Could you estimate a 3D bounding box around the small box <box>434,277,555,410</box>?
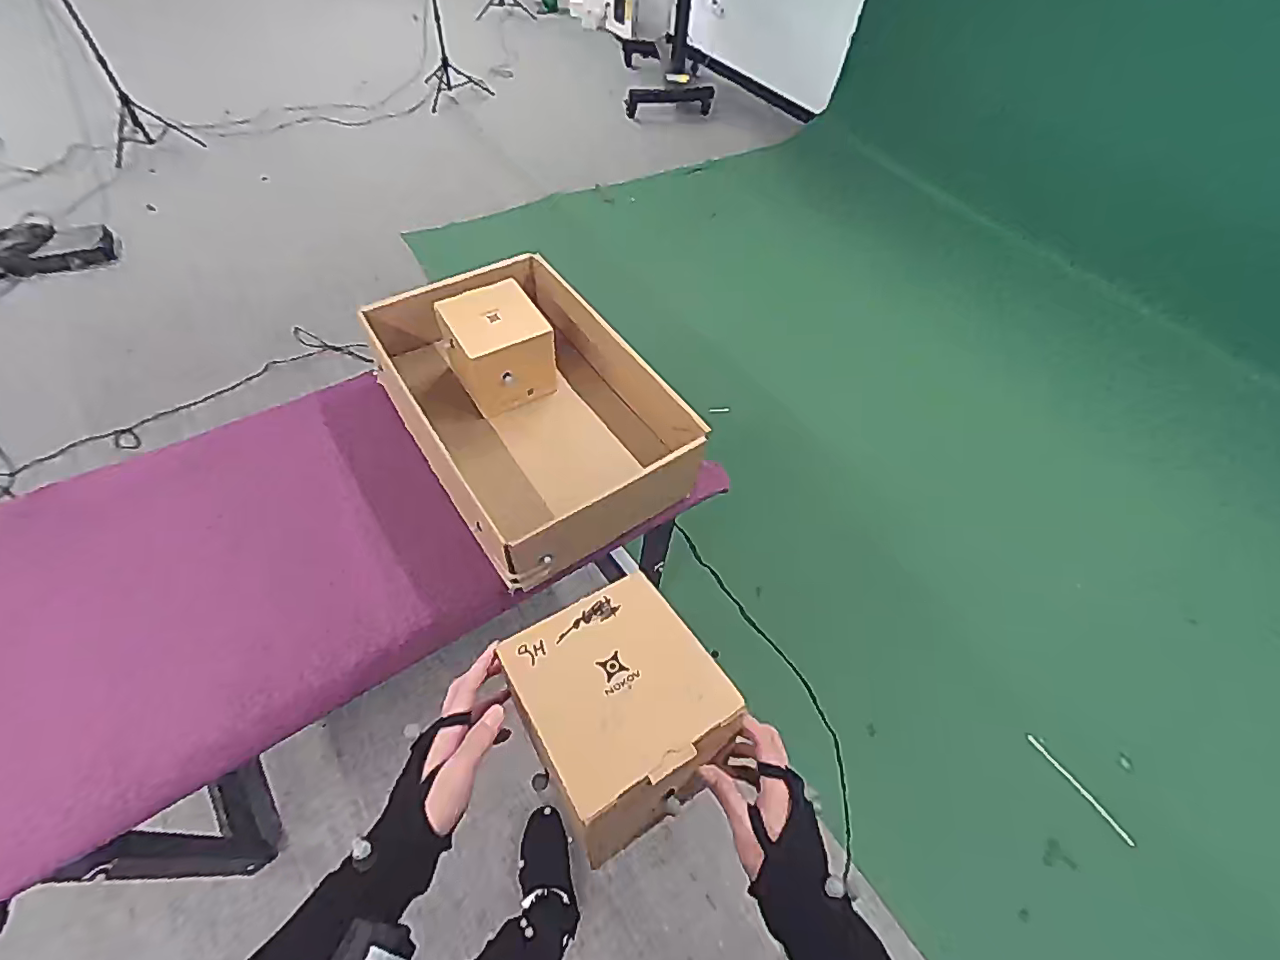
[{"bbox_3d":[-0.280,-0.261,1.073,0.168,0.176,0.179,-27,62,-20],"label":"small box"}]
